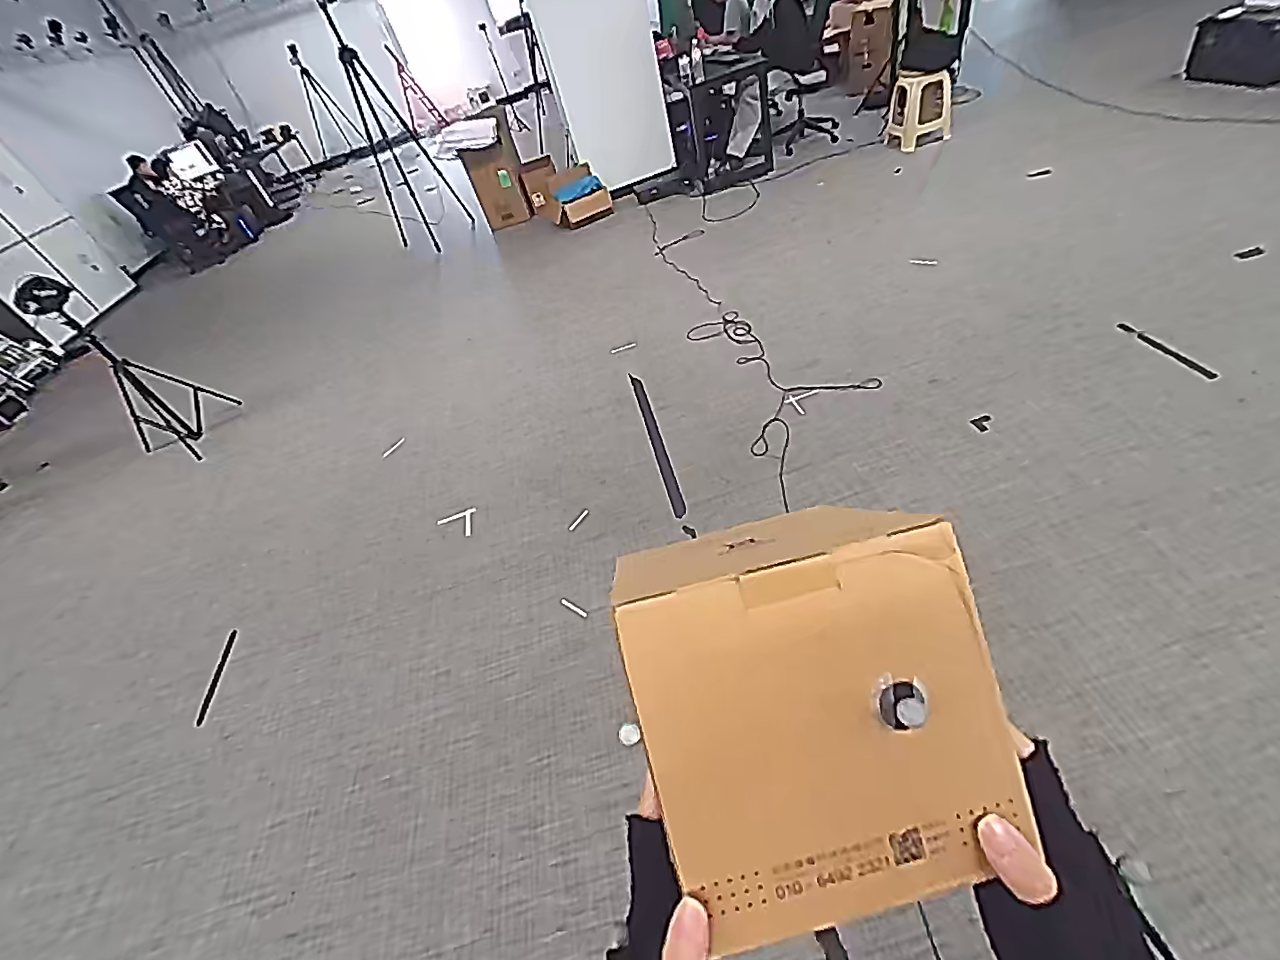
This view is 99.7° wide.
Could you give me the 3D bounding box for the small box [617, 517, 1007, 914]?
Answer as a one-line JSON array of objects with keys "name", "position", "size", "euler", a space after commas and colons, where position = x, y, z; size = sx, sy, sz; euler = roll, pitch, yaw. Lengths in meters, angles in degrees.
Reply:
[{"name": "small box", "position": [0.088, 0.130, 0.346], "size": [0.168, 0.176, 0.179], "euler": [-15, -1, 0]}]
